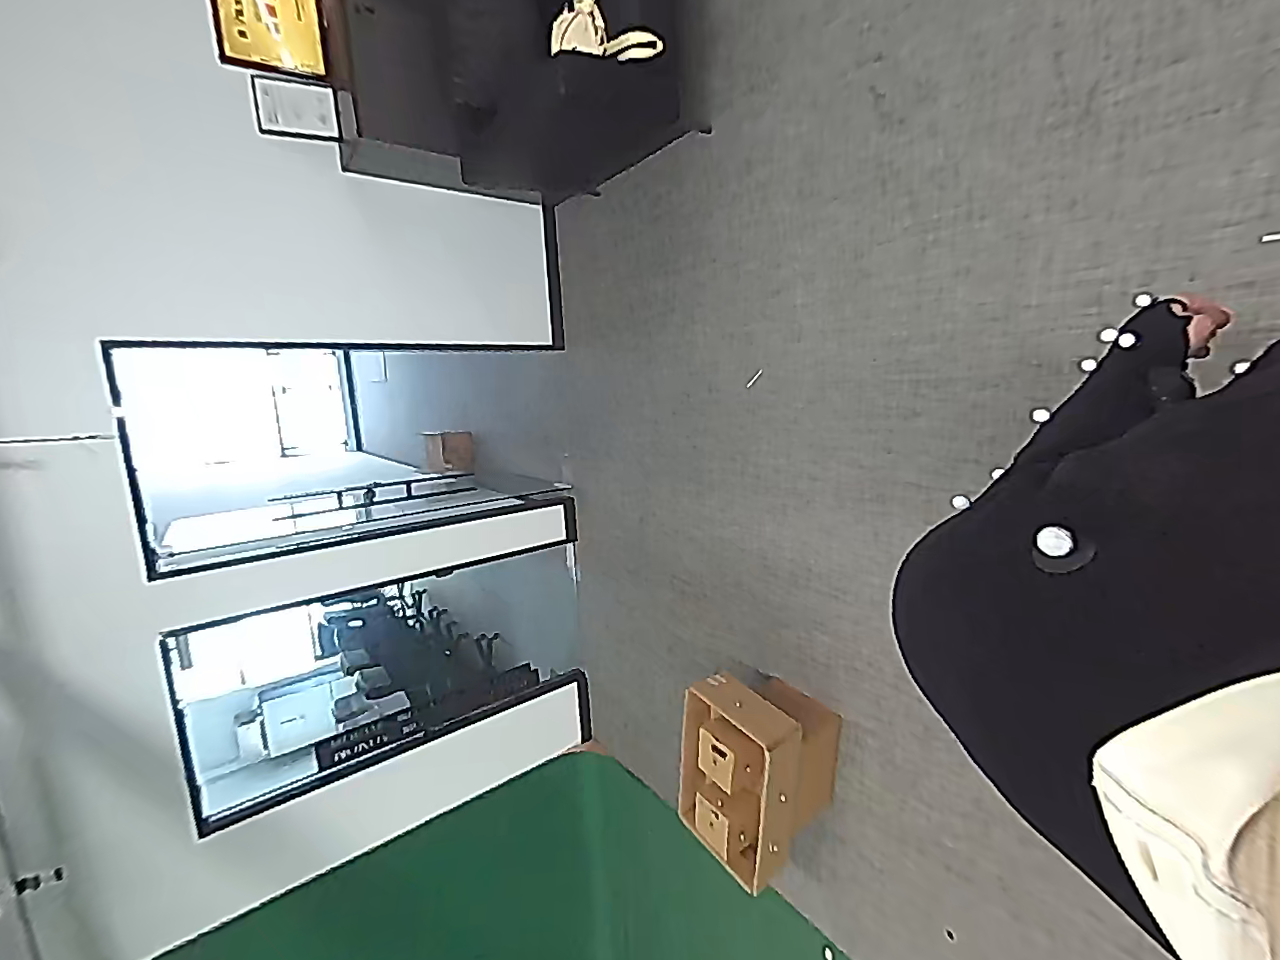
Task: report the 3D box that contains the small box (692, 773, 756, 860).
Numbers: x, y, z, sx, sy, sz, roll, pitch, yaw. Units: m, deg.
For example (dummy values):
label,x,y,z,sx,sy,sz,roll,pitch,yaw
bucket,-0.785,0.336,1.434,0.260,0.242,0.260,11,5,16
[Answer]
label,x,y,z,sx,sy,sz,roll,pitch,yaw
small box,0.309,1.229,1.988,0.168,0.176,0.179,16,112,51
